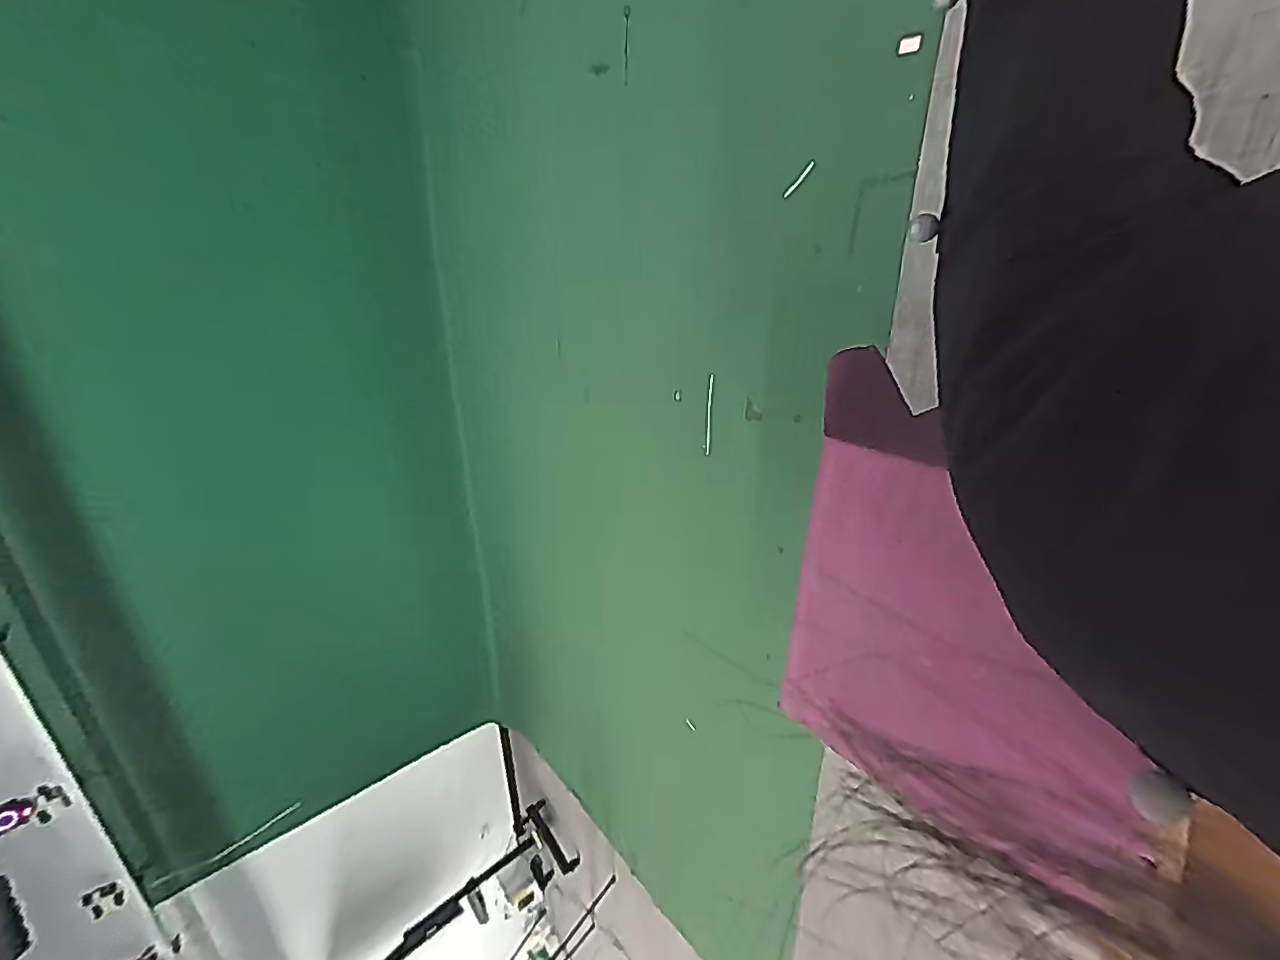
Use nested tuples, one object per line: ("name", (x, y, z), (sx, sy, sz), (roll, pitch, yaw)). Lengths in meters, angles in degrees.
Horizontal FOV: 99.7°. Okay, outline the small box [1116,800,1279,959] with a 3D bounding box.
("small box", (0.510, 0.401, 0.416), (0.179, 0.176, 0.168), (28, 126, 43))
